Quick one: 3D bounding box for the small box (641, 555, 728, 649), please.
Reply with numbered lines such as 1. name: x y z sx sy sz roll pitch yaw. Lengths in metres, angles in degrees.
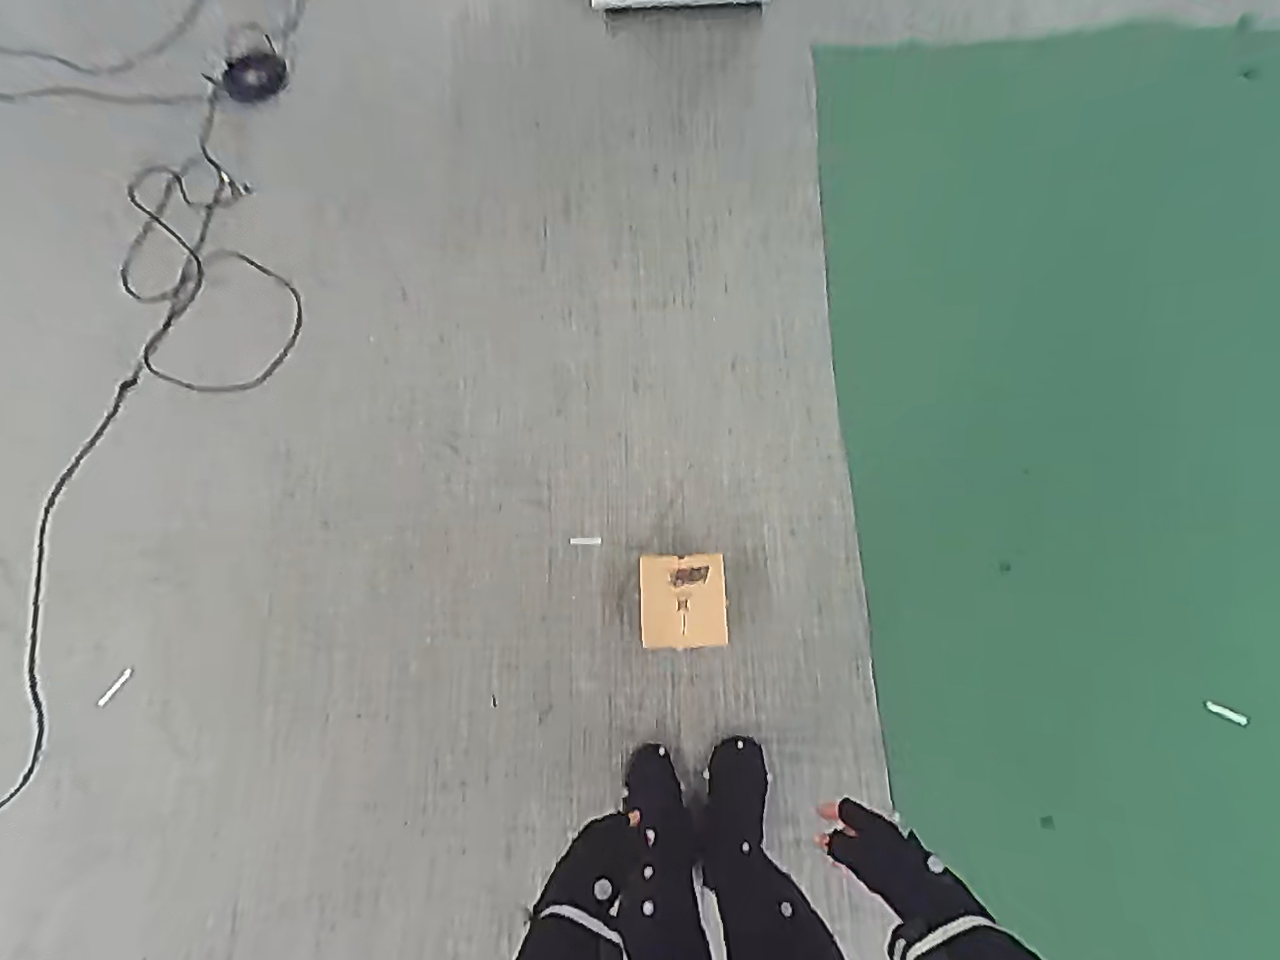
1. small box: 0.085 0.252 1.117 0.168 0.176 0.179 -2 77 1
